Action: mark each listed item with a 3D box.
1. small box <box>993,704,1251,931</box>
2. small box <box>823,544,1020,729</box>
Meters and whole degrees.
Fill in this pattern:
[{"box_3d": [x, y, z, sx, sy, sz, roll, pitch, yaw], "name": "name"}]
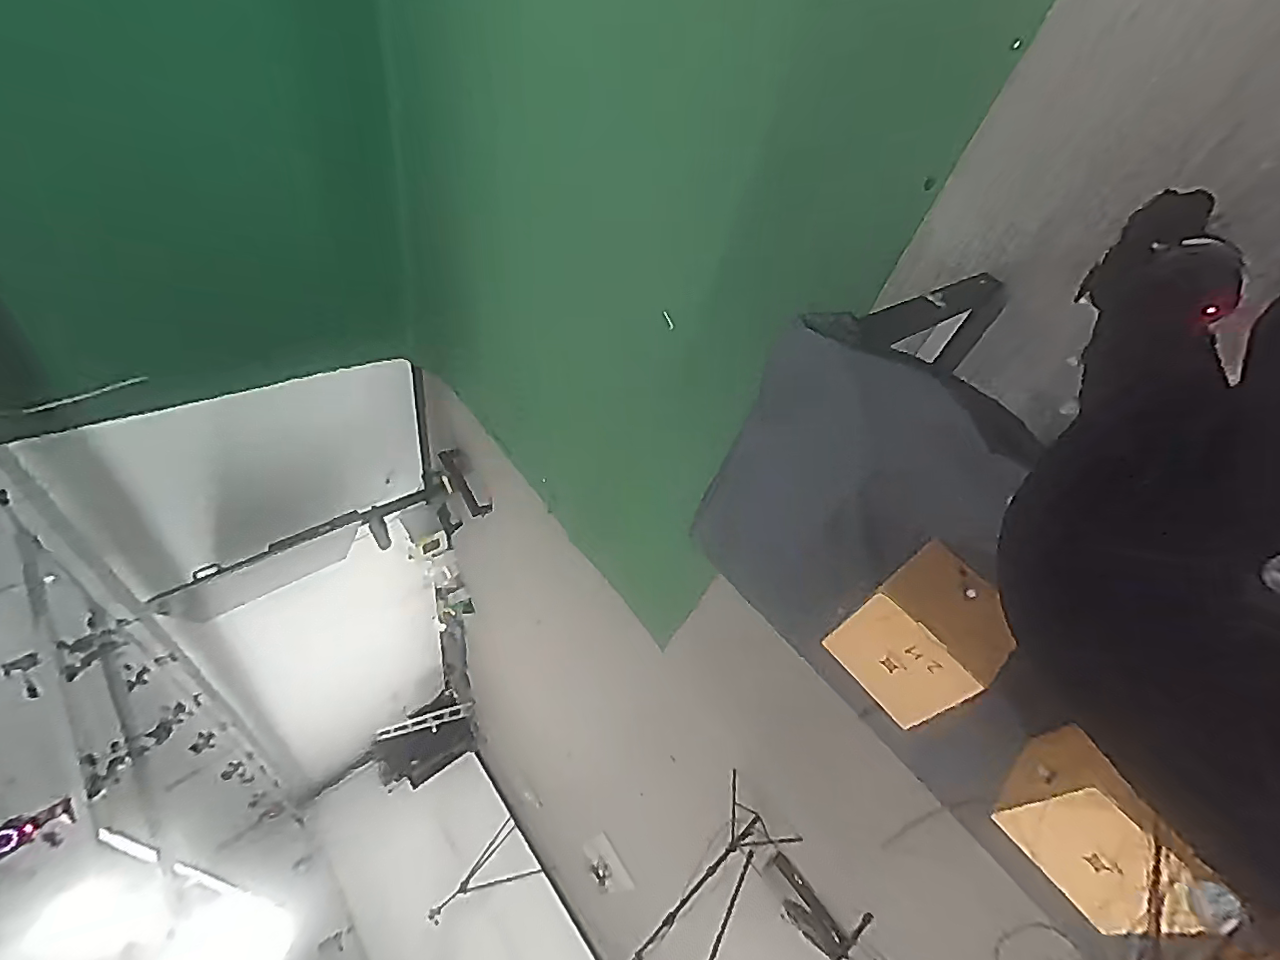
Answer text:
[{"box_3d": [0.611, 0.426, 0.692, 0.168, 0.176, 0.179, 47, 141, 23], "name": "small box"}, {"box_3d": [0.420, 0.230, 0.811, 0.168, 0.176, 0.179, 46, 141, 22], "name": "small box"}]
